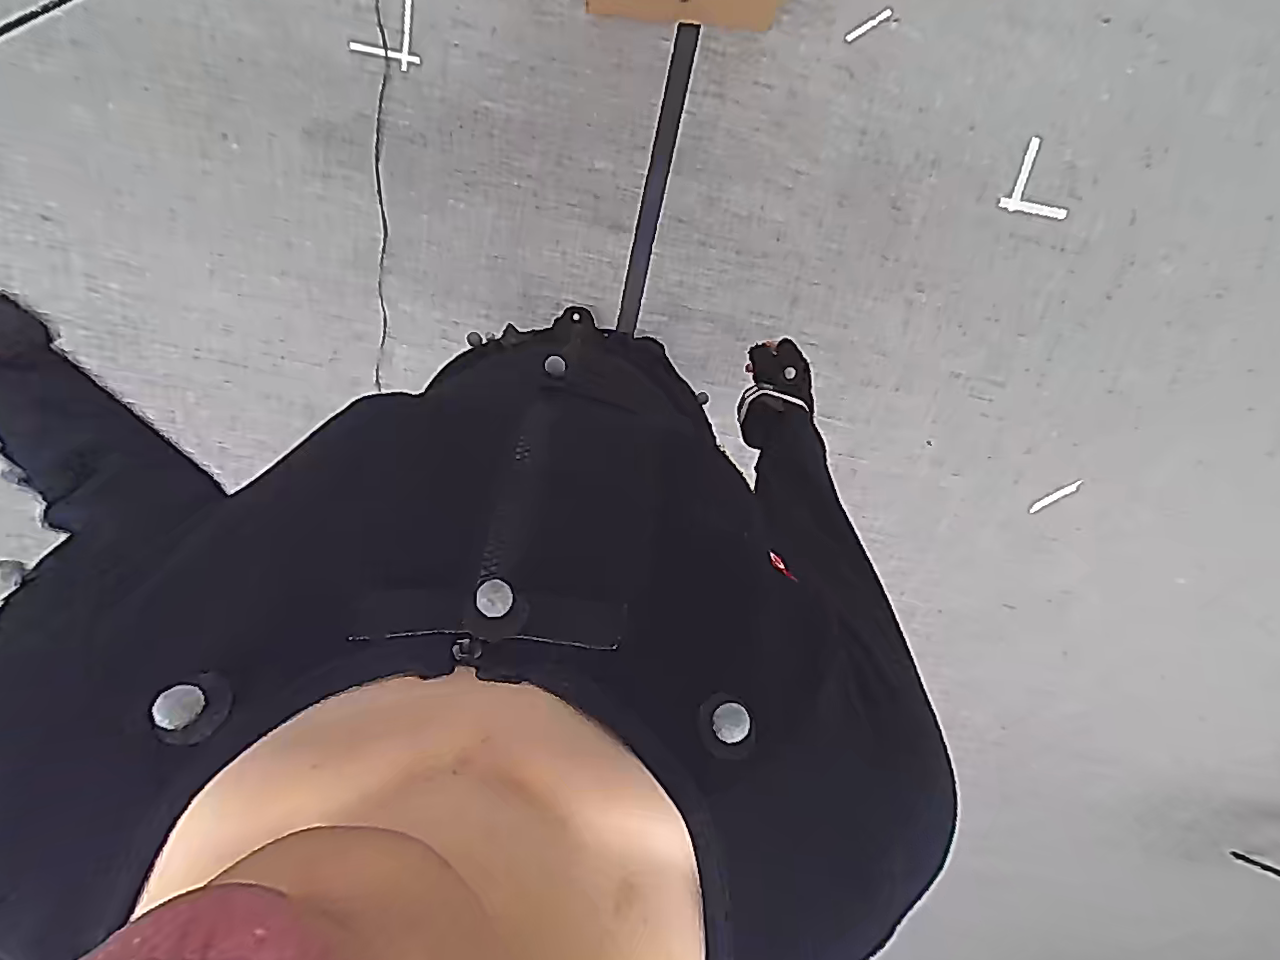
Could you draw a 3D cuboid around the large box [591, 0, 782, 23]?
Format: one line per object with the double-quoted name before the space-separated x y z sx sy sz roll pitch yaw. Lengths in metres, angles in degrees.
"large box" 0.103 -1.116 1.008 0.408 0.320 0.320 4 108 -2
